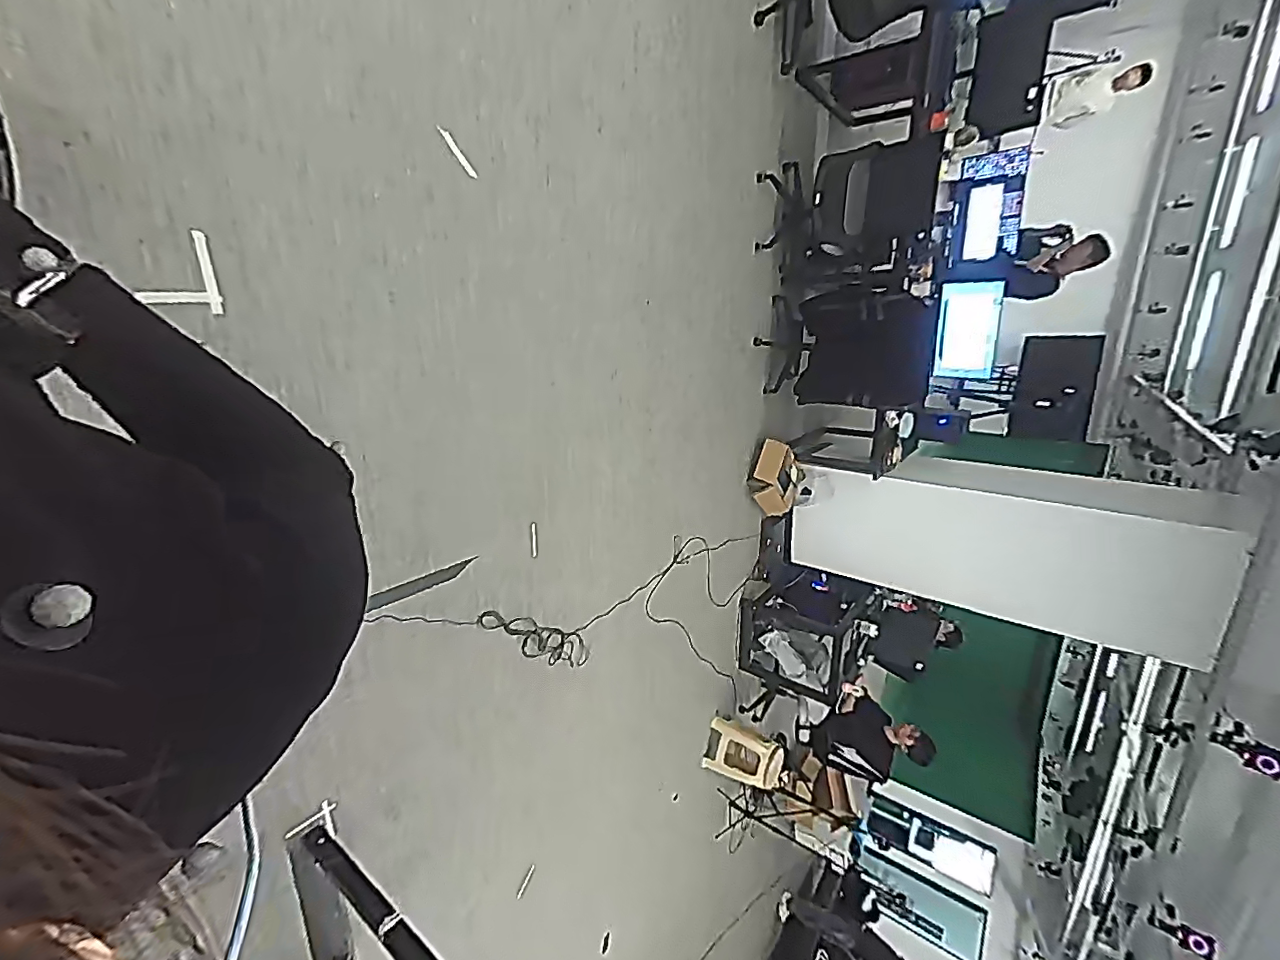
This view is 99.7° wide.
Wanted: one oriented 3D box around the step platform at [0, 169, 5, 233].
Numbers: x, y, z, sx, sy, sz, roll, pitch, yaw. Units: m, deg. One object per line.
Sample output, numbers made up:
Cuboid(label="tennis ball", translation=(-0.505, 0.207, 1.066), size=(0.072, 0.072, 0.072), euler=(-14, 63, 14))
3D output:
Cuboid(label="step platform", translation=(-1.255, -0.469, 0.616), size=(0.684, 0.204, 0.286), euler=(-10, 107, -51))
